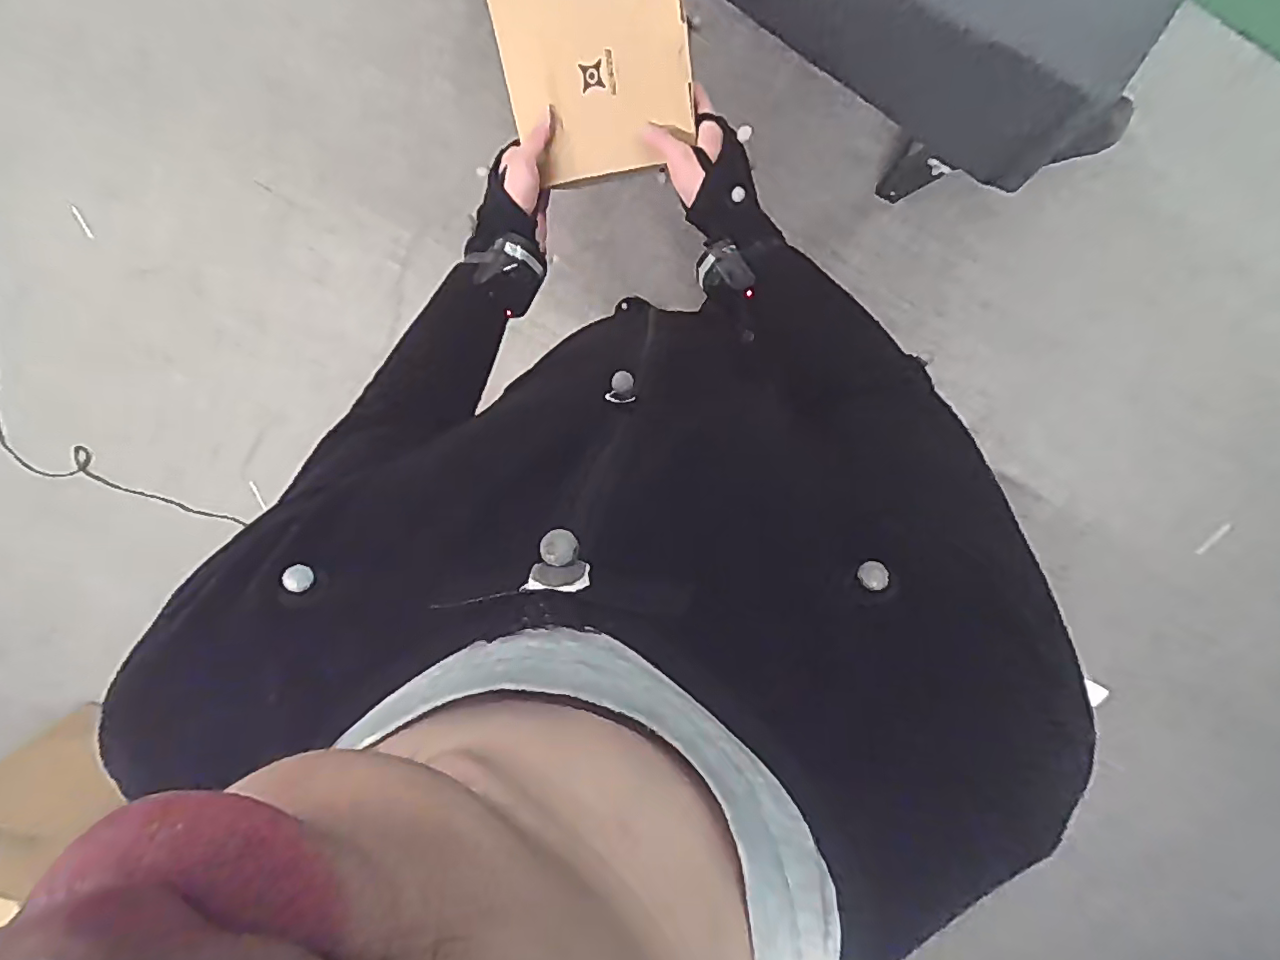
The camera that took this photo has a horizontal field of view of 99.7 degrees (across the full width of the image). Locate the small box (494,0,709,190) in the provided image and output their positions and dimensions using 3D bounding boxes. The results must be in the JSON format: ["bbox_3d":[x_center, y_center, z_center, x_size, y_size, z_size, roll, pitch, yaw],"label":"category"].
[{"bbox_3d":[-0.024,-0.412,0.566,0.179,0.176,0.168,-6,117,12],"label":"small box"}]
